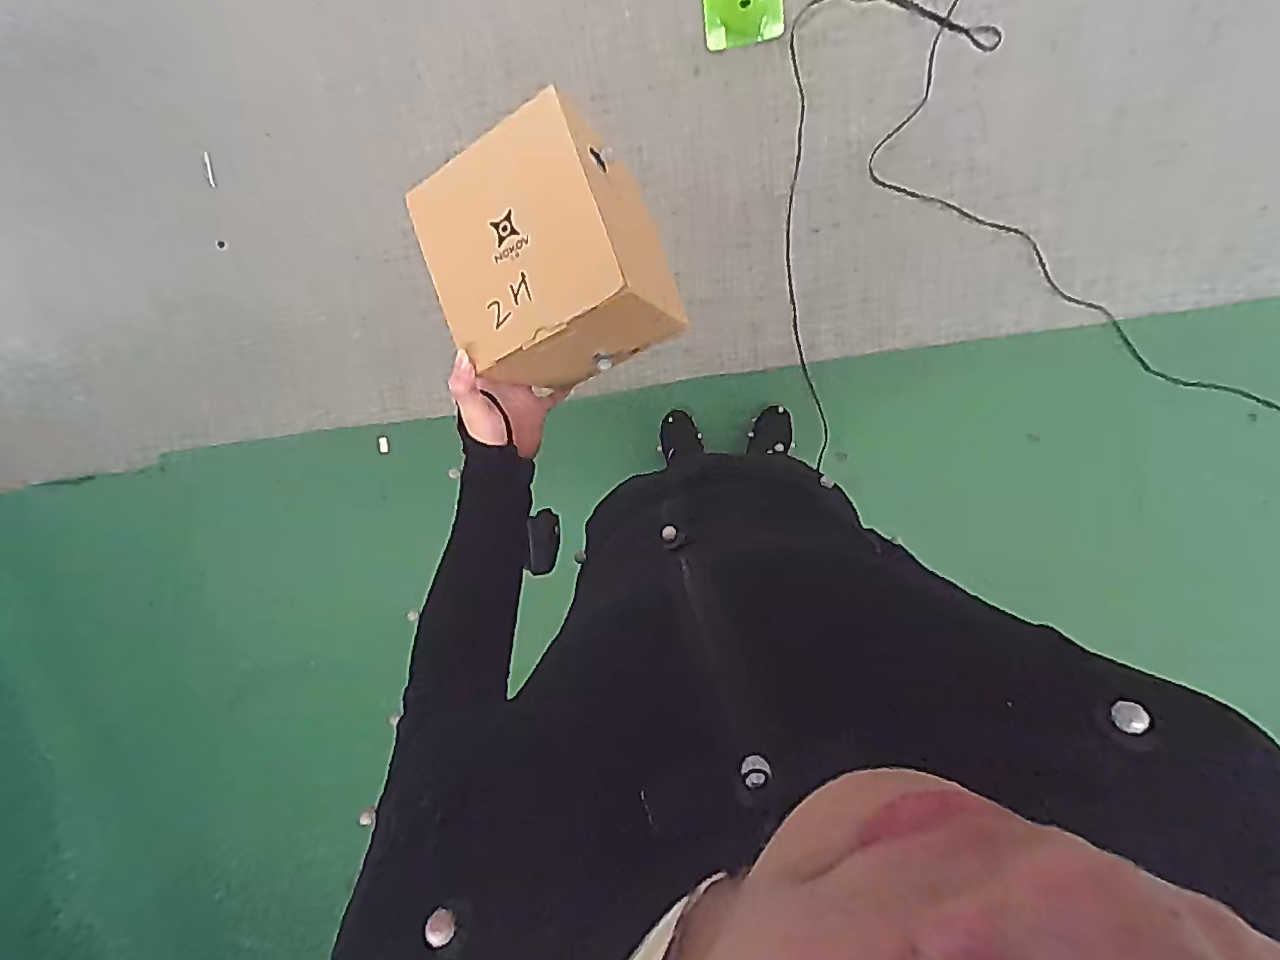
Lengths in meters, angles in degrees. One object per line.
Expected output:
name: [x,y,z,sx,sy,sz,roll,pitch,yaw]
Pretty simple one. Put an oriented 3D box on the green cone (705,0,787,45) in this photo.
green cone: [0.241,-1.204,1.212,0.202,0.368,0.200,-5,99,10]
